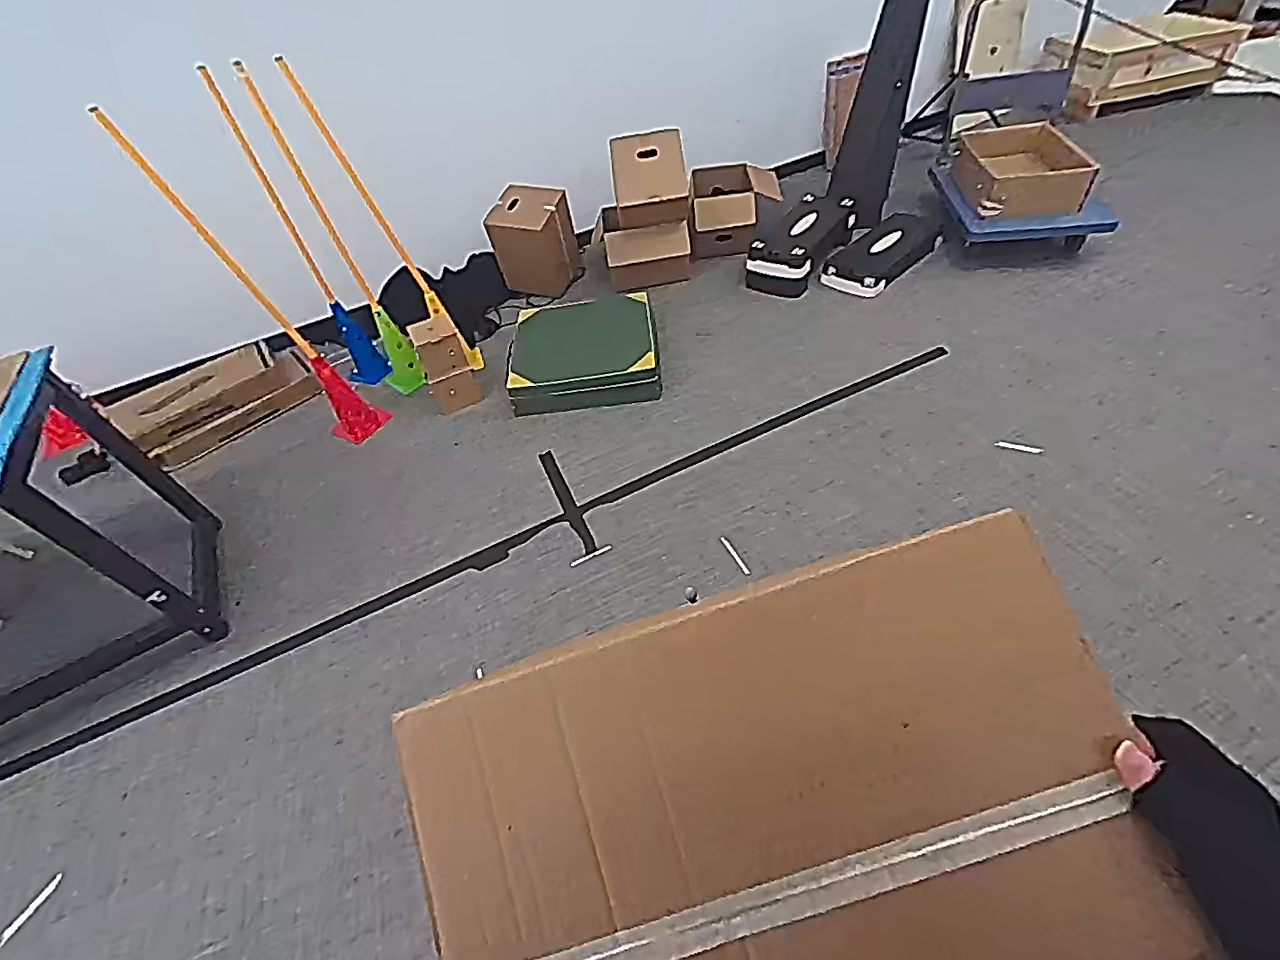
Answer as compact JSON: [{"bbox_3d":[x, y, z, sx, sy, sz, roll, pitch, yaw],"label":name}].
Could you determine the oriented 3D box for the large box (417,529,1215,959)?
[{"bbox_3d":[0.104,0.262,0.456,0.408,0.320,0.320,-19,77,1],"label":"large box"}]
